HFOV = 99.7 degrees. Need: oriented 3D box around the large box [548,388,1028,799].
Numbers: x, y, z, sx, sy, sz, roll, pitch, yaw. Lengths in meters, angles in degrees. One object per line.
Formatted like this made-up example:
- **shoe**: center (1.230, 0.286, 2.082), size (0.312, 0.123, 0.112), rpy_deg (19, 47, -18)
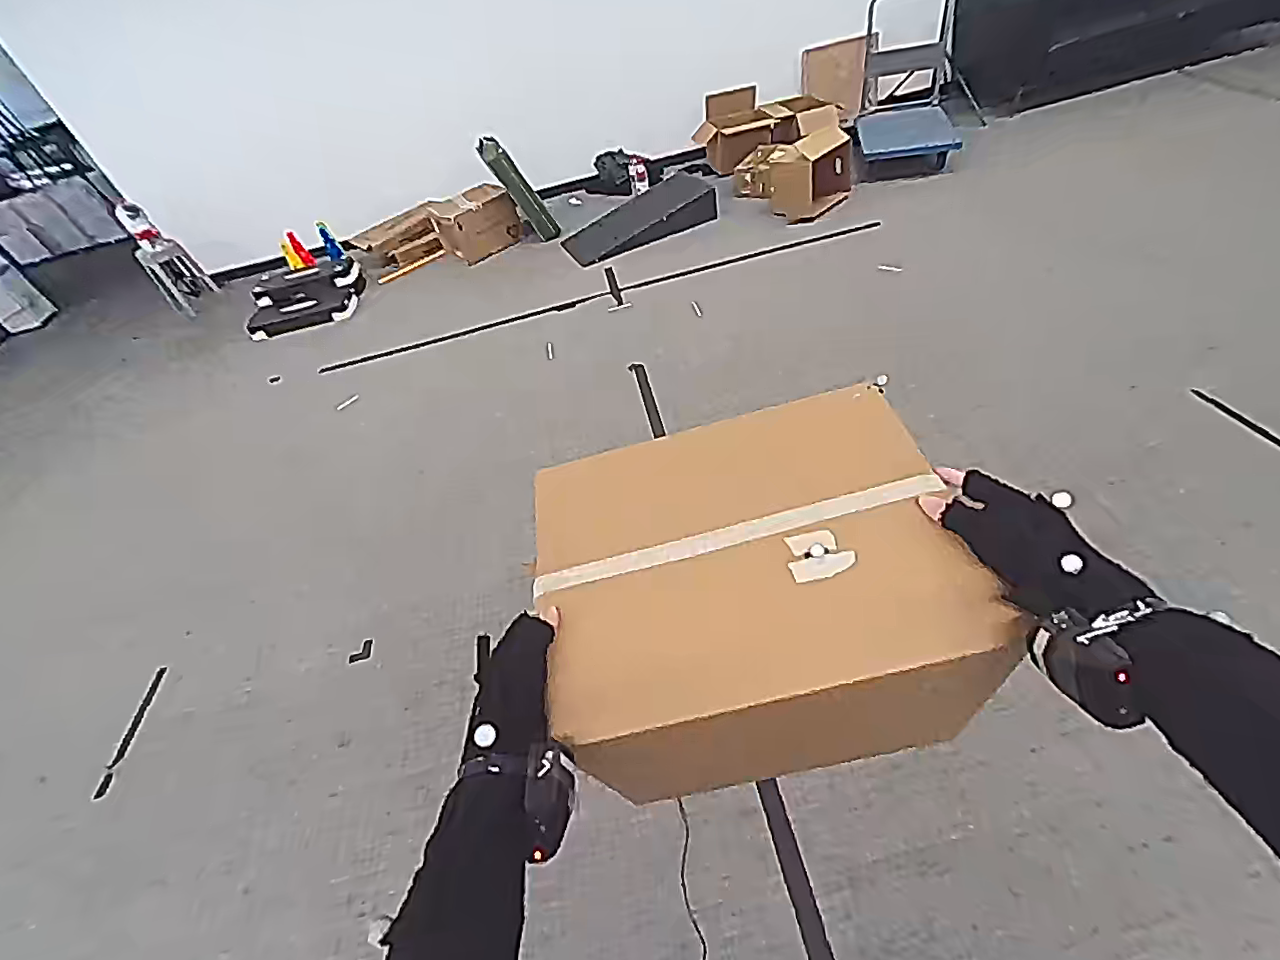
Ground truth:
- **large box**: center (0.134, 0.149, 0.657), size (0.408, 0.320, 0.320), rpy_deg (-15, 50, 4)
